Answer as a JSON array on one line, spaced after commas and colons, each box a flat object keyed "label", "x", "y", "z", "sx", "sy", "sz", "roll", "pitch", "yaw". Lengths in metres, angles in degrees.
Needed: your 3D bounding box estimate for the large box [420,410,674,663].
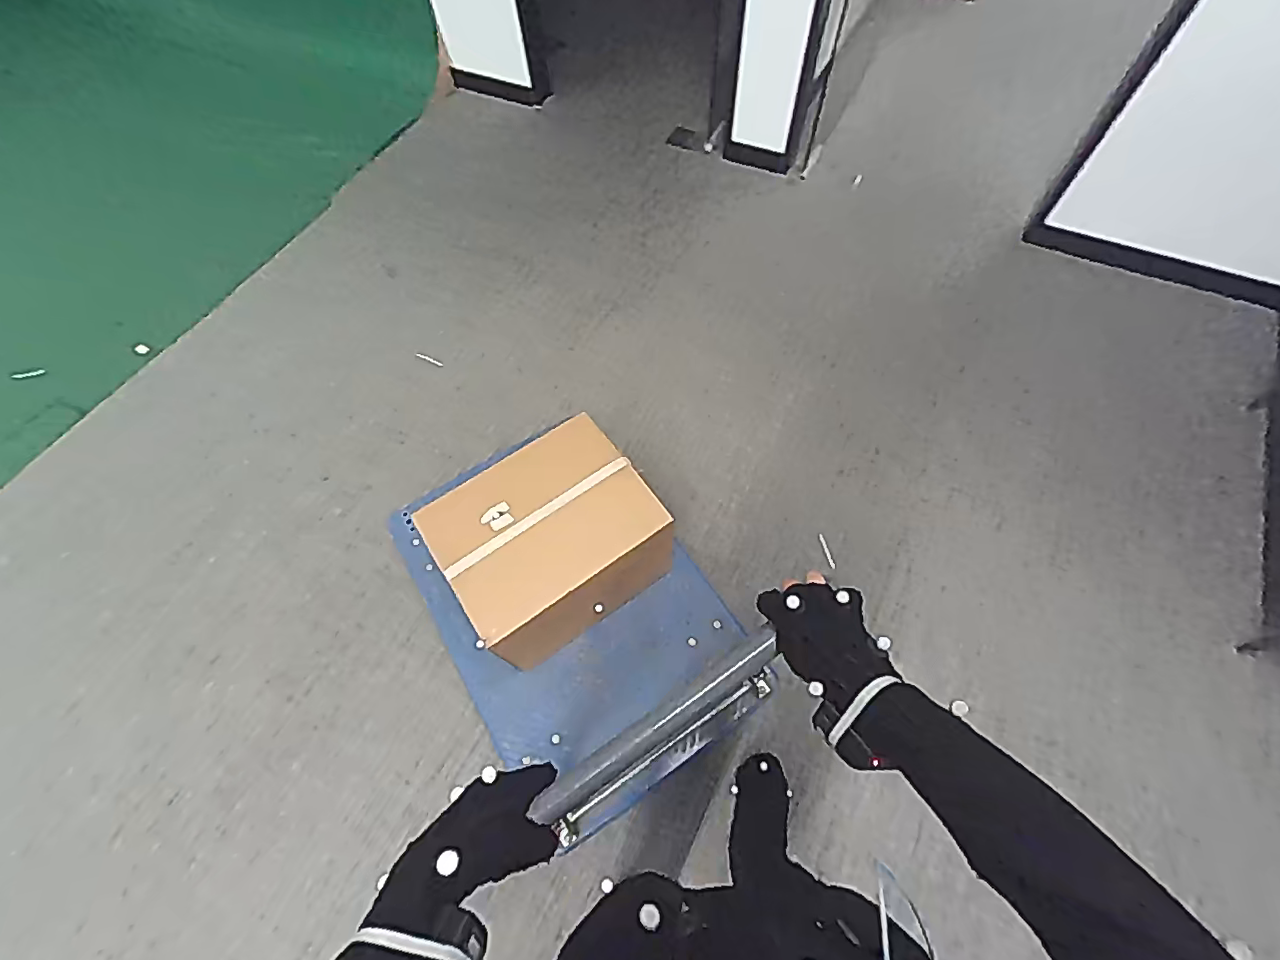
[{"label": "large box", "x": -0.175, "y": 0.130, "z": 1.169, "sx": 0.408, "sy": 0.320, "sz": 0.320, "roll": -34, "pitch": 67, "yaw": -14}]
